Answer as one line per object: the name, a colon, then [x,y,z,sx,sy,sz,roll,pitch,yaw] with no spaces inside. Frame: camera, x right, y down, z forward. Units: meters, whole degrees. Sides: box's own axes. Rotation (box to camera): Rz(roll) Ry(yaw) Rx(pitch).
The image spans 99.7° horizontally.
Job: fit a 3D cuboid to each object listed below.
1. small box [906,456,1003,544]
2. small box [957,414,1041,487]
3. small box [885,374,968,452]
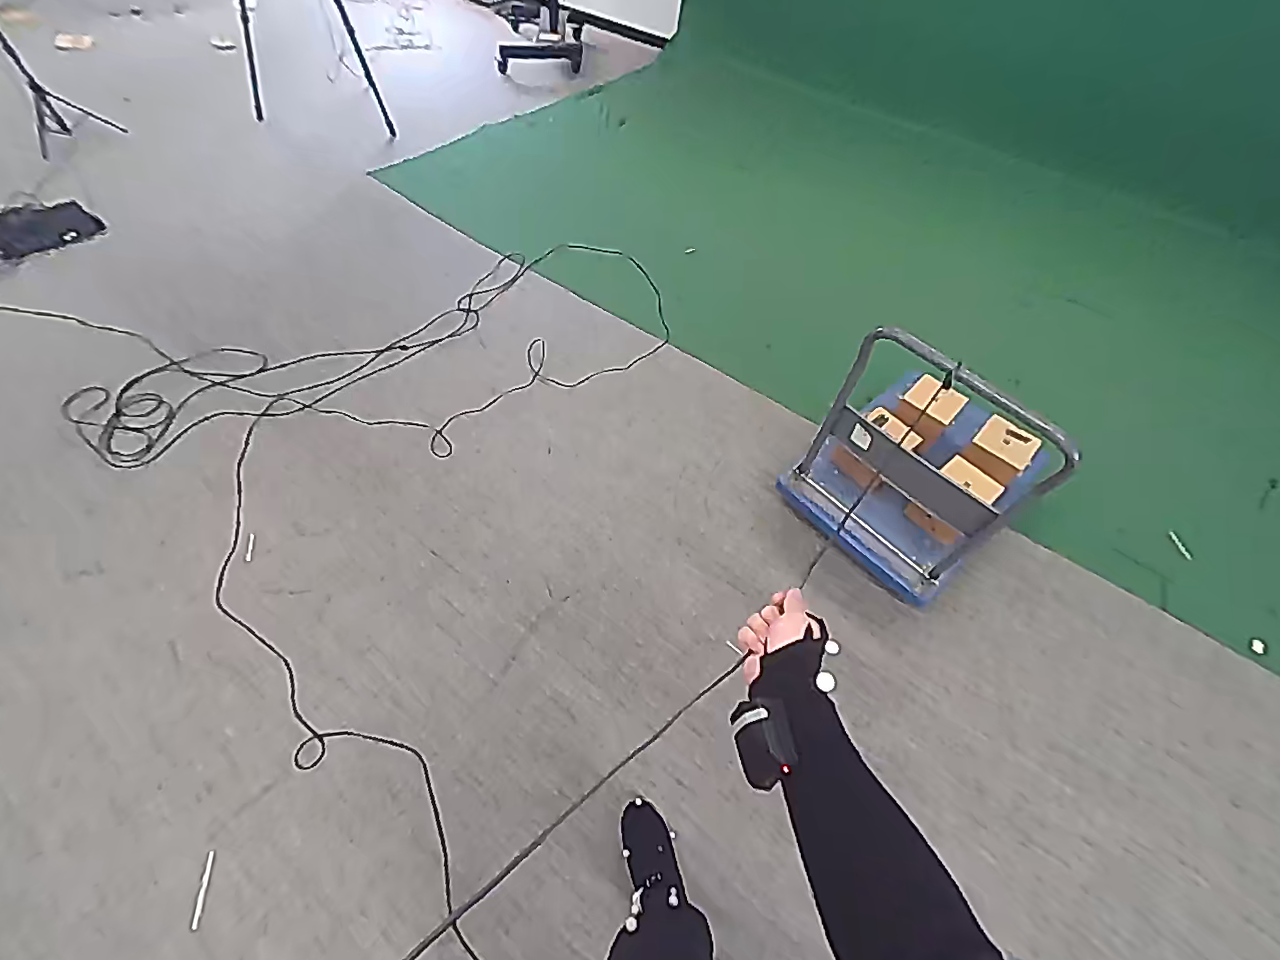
small box: [0.963,0.063,1.671,0.179,0.176,0.168,-34,64,-25]
small box: [1.164,-0.078,1.786,0.168,0.176,0.179,40,62,22]
small box: [0.984,-0.228,1.878,0.168,0.176,0.179,41,61,21]
